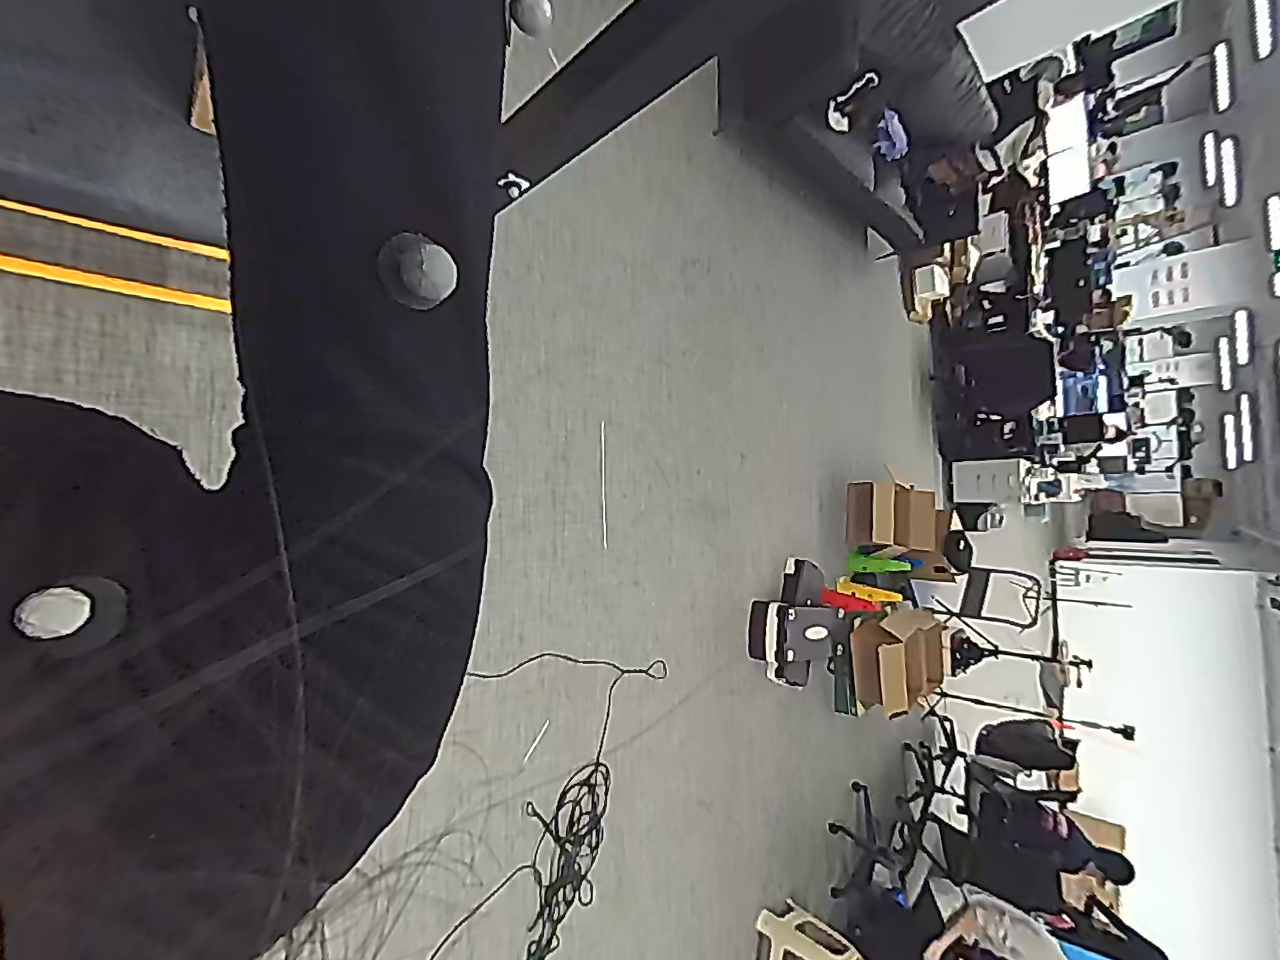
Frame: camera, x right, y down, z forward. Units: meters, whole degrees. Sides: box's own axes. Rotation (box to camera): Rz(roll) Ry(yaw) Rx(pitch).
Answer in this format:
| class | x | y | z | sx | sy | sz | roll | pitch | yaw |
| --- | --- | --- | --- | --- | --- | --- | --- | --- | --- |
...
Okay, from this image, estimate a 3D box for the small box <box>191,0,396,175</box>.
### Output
| class | x | y | z | sx | sy | sz | roll | pitch | yaw |
| --- | --- | --- | --- | --- | --- | --- | --- | --- | --- |
| small box | -0.411 | -0.506 | 0.641 | 0.168 | 0.176 | 0.179 | 6 | 83 | -47 |
